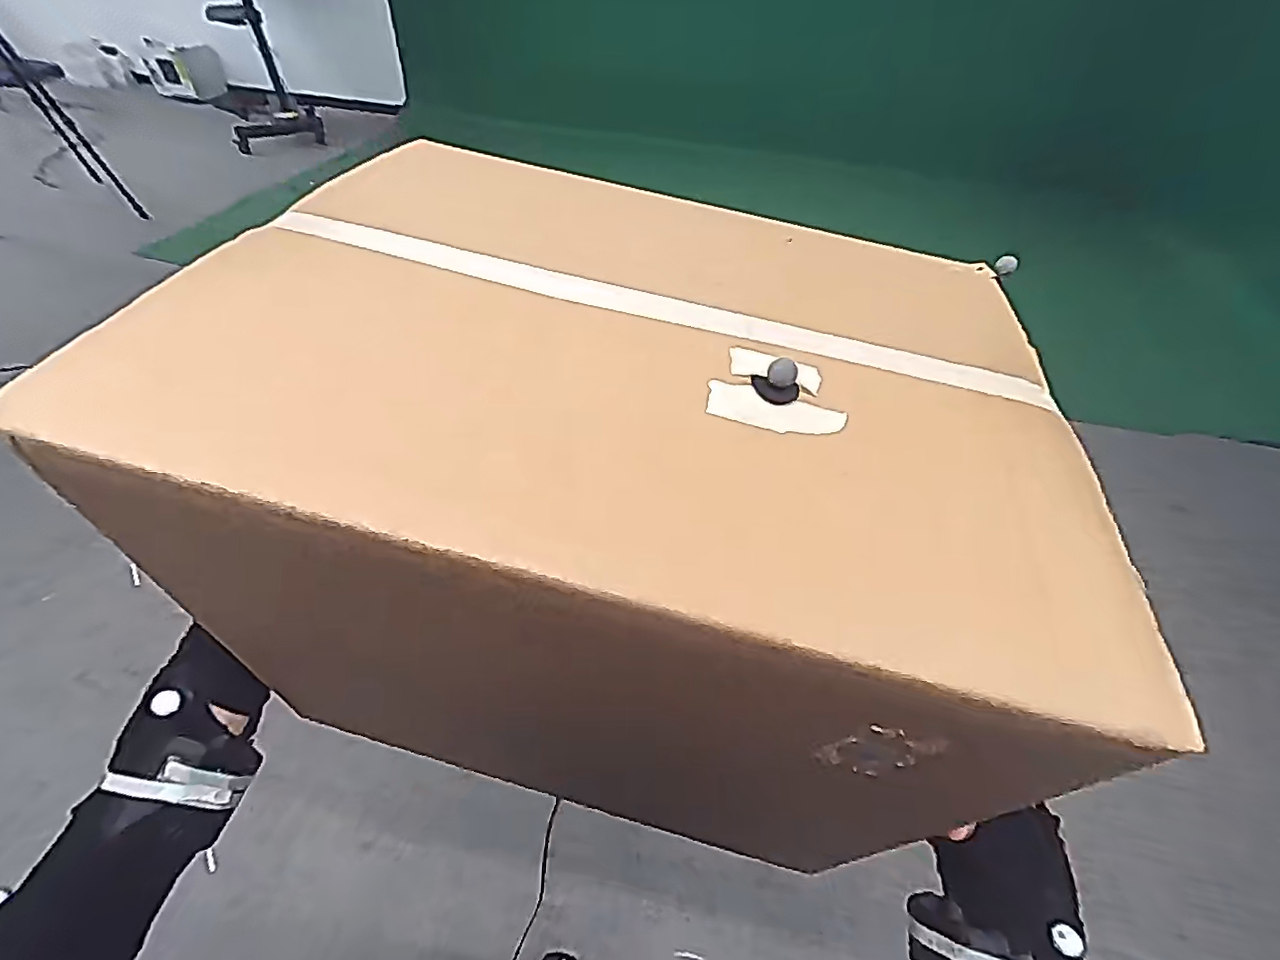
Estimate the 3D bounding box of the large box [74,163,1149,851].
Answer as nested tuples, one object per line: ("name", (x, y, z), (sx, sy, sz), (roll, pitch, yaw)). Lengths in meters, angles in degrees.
("large box", (-0.008, 0.020, 0.398), (0.408, 0.320, 0.320), (15, 49, 3))
